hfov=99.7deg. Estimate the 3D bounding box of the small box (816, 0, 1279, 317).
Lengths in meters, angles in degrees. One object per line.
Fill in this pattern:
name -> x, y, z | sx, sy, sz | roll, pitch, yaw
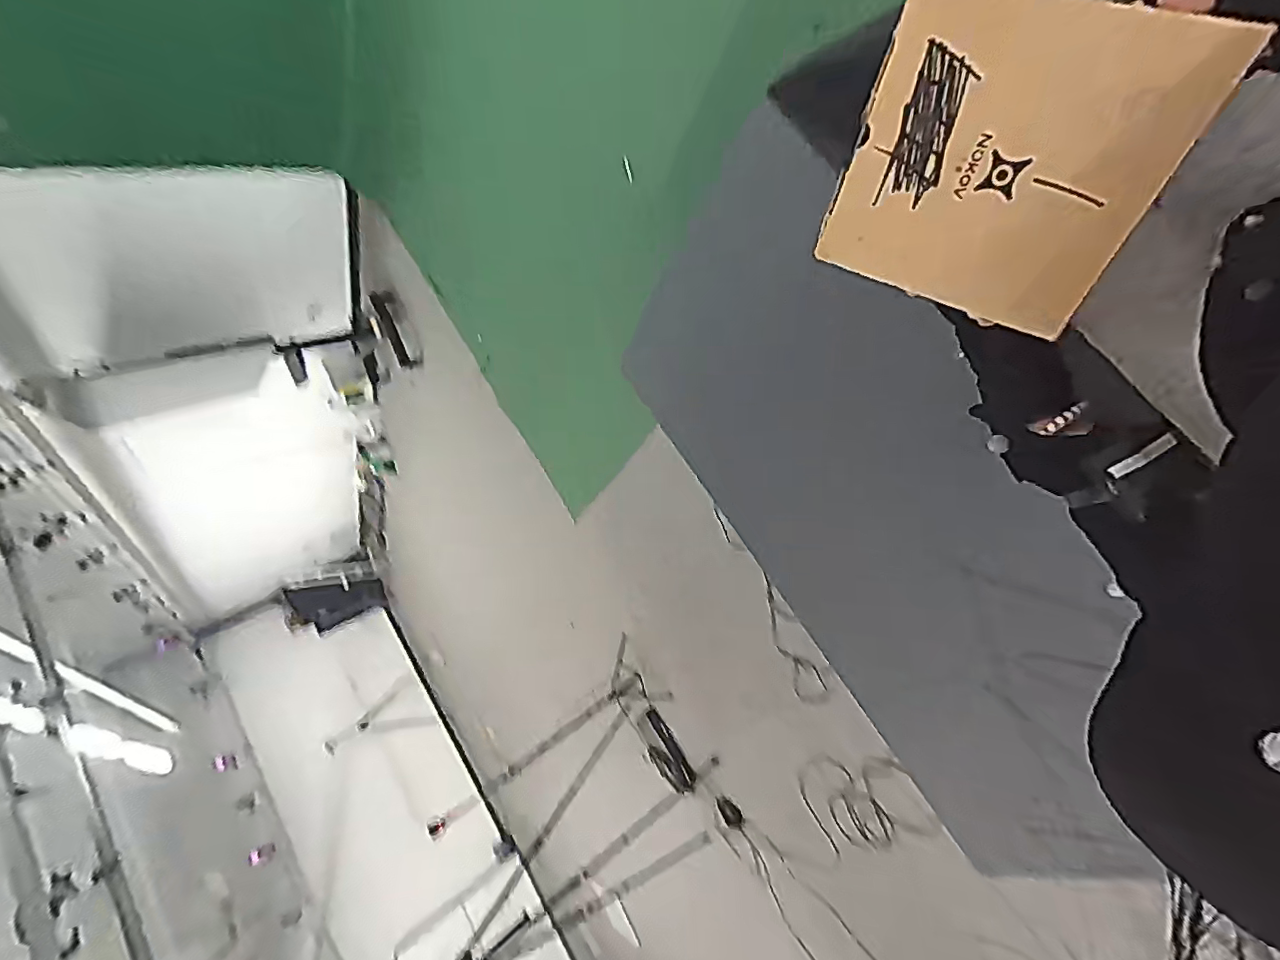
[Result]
small box -> 0.263, -0.243, 0.388 | 0.179, 0.176, 0.168 | 32, 133, 19
